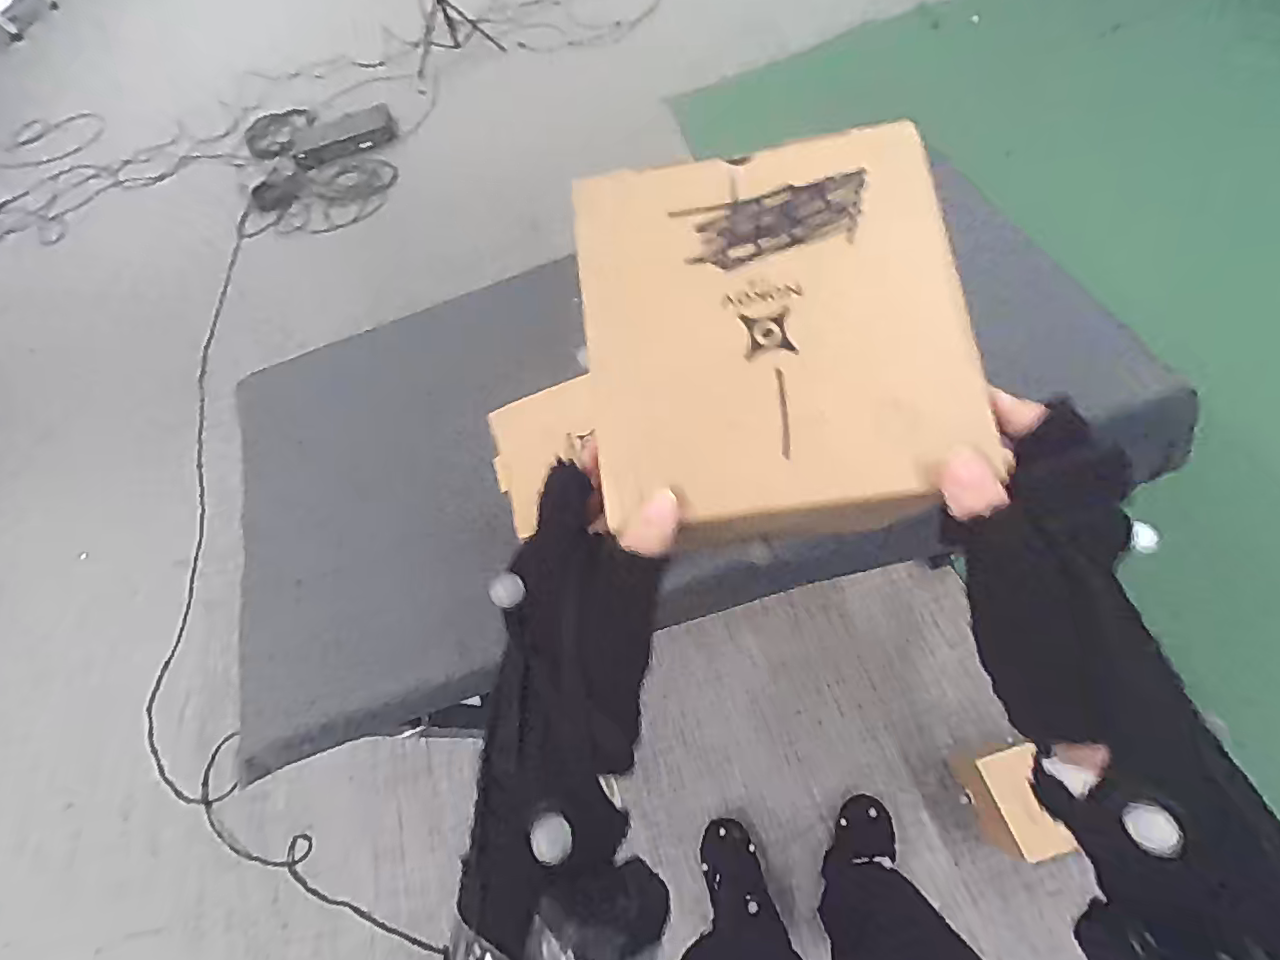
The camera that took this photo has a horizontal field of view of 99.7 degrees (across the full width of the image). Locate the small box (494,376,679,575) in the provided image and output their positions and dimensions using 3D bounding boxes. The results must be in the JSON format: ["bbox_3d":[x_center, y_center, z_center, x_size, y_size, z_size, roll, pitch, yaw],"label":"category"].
[{"bbox_3d":[-0.046,-0.007,0.632,0.179,0.176,0.168,-20,62,-1],"label":"small box"}]

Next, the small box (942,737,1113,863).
[{"bbox_3d":[0.720,0.599,1.031,0.179,0.176,0.168,-18,62,2],"label":"small box"}]

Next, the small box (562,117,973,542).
[{"bbox_3d":[0.056,-0.064,0.323,0.168,0.176,0.179,-7,78,5],"label":"small box"}]
